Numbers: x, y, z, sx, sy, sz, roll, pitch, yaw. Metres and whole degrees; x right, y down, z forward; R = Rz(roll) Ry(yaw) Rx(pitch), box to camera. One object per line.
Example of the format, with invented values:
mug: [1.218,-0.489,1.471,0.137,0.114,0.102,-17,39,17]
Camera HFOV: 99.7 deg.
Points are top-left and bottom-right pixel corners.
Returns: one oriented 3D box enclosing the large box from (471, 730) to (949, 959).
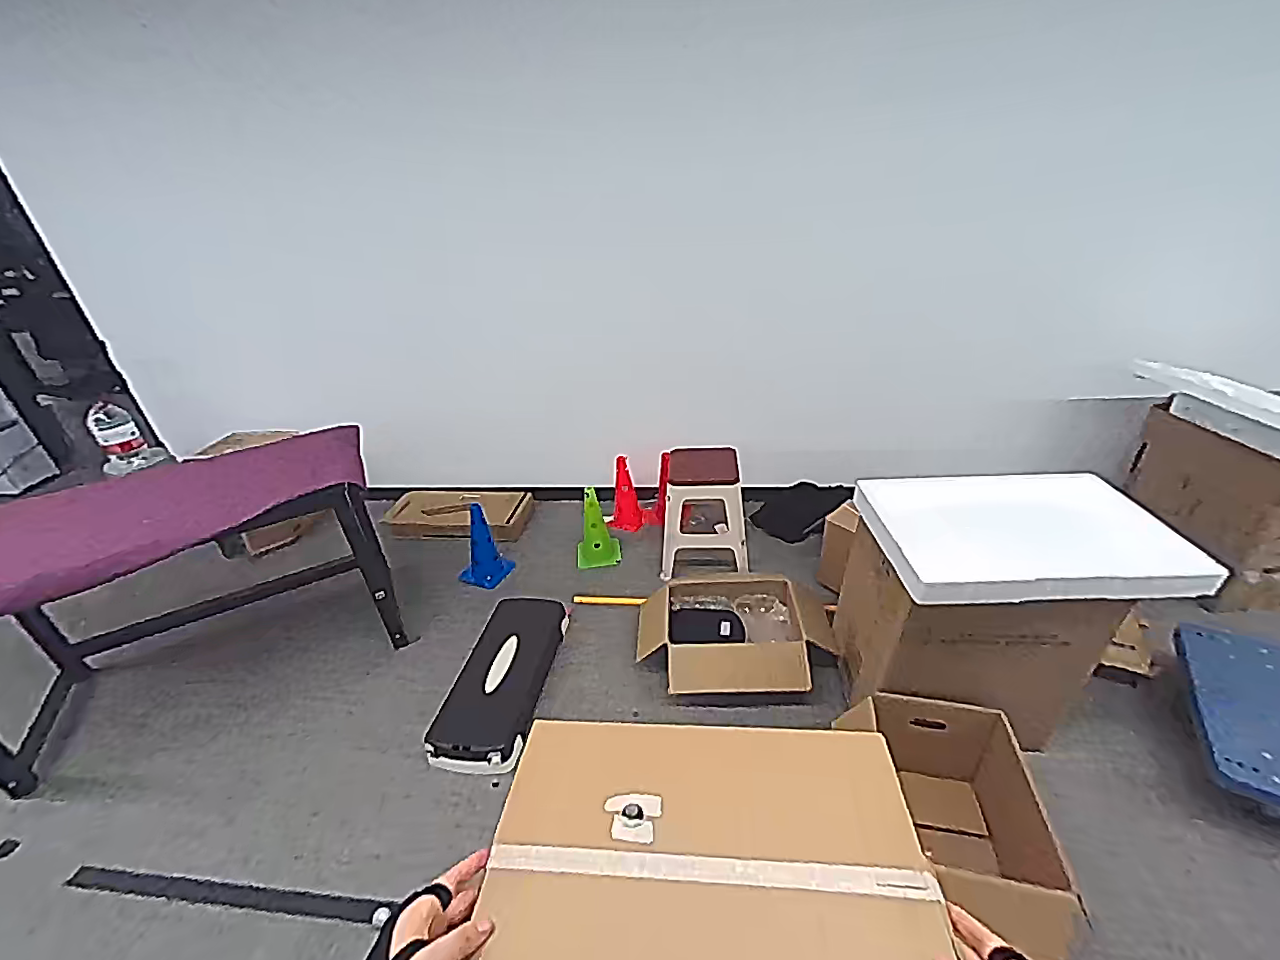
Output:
large box: [0.074,0.500,0.572,0.408,0.320,0.320,-3,26,7]
